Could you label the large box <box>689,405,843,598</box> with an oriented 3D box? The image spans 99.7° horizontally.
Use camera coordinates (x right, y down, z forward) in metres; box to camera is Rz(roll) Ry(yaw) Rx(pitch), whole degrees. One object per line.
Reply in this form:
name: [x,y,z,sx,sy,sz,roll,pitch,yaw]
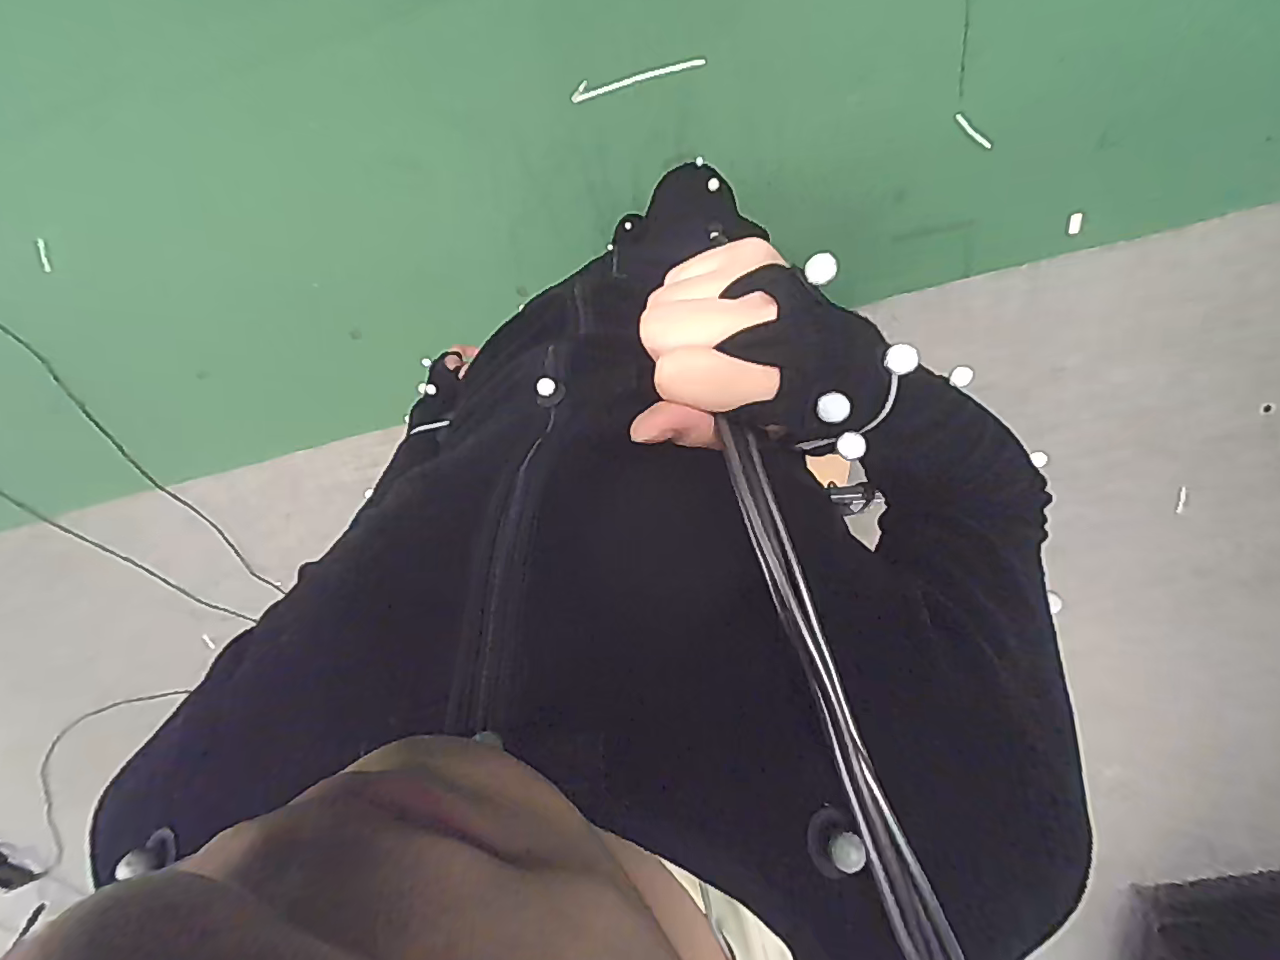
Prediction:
large box: [0.296,0.046,1.399,0.320,0.320,0.408,-1,117,0]
